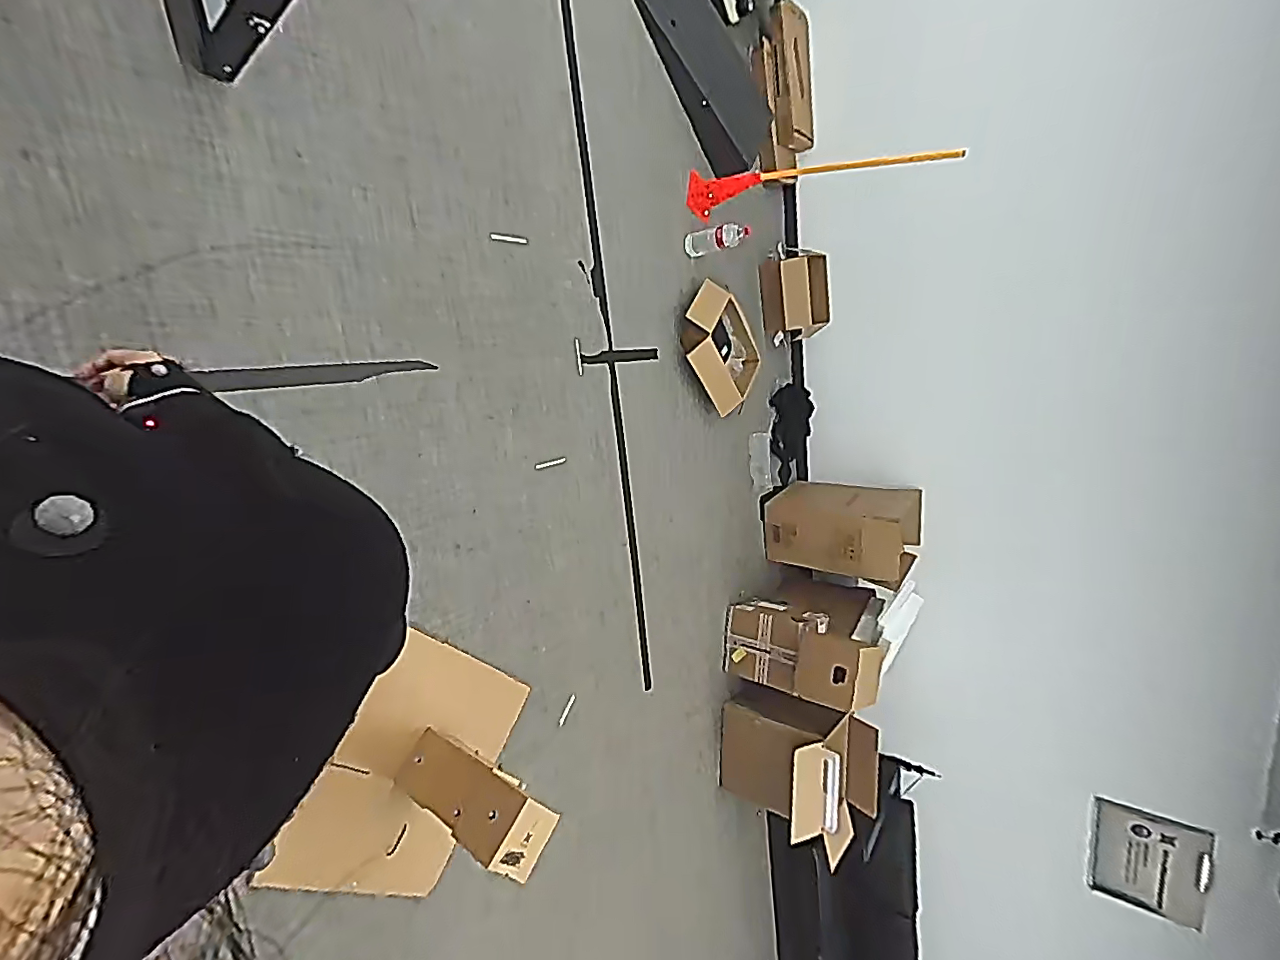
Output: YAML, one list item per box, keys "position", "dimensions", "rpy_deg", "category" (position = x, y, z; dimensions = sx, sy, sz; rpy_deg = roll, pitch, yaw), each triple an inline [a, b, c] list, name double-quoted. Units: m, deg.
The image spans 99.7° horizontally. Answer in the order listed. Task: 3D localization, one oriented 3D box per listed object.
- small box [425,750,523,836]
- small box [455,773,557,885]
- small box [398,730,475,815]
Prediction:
- position: [-0.481, 0.914, 1.562]
  dimensions: [0.179, 0.176, 0.168]
  rpy_deg: [-59, 135, -27]
  category: "small box"
- position: [-0.364, 0.928, 1.446]
  dimensions: [0.179, 0.176, 0.168]
  rpy_deg: [-57, 134, -30]
  category: "small box"
- position: [-0.610, 0.906, 1.661]
  dimensions: [0.168, 0.176, 0.179]
  rpy_deg: [54, 55, -40]
  category: "small box"
